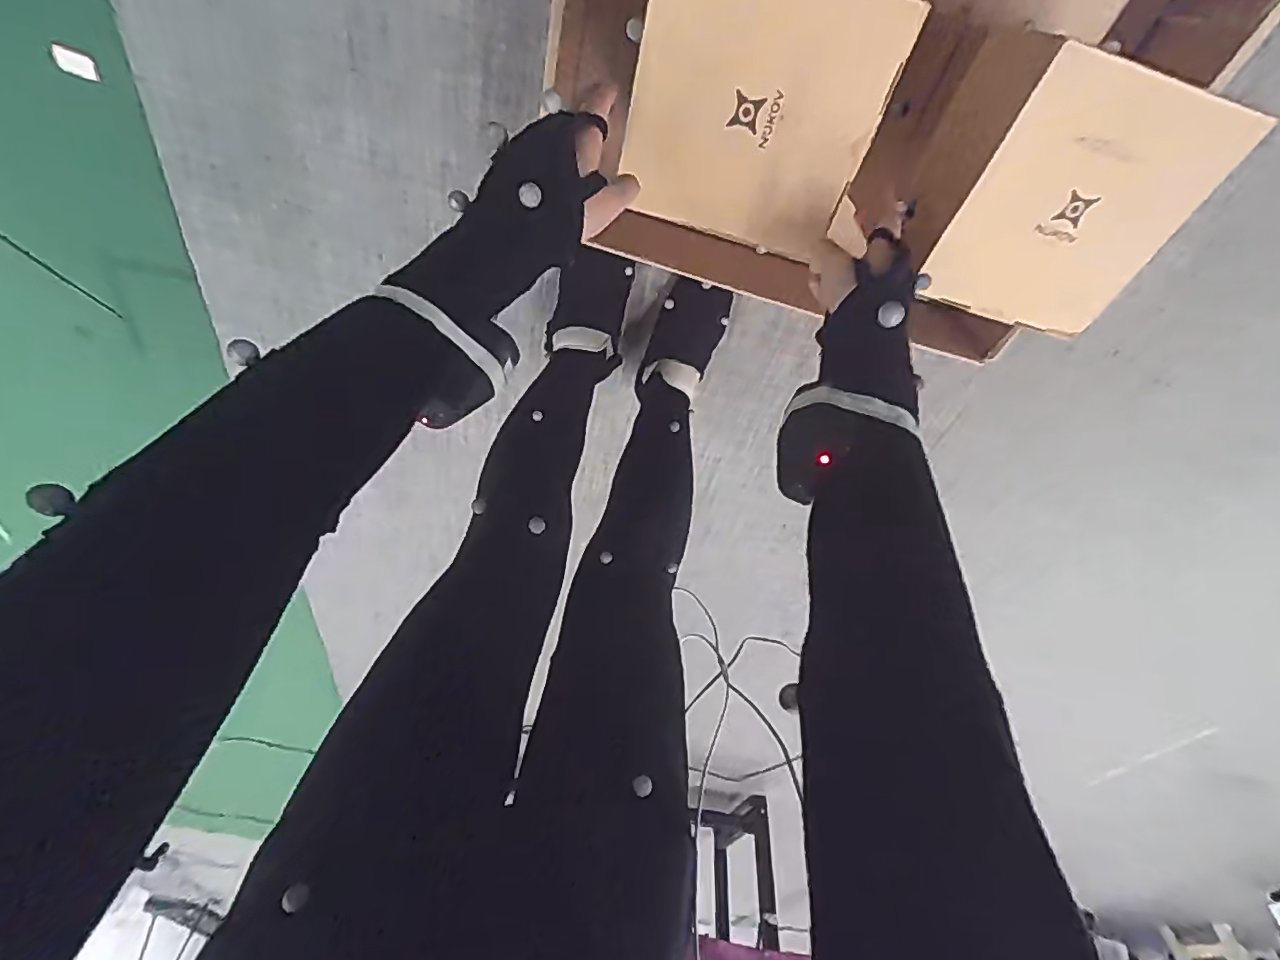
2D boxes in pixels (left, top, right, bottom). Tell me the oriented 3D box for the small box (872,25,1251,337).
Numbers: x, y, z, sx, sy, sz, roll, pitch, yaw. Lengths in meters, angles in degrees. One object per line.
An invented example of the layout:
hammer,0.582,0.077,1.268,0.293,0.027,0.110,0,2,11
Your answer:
small box,0.329,-0.262,0.476,0.168,0.176,0.179,15,133,-7

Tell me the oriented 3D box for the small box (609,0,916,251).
small box,0.082,-0.321,0.450,0.179,0.176,0.168,12,133,-6
